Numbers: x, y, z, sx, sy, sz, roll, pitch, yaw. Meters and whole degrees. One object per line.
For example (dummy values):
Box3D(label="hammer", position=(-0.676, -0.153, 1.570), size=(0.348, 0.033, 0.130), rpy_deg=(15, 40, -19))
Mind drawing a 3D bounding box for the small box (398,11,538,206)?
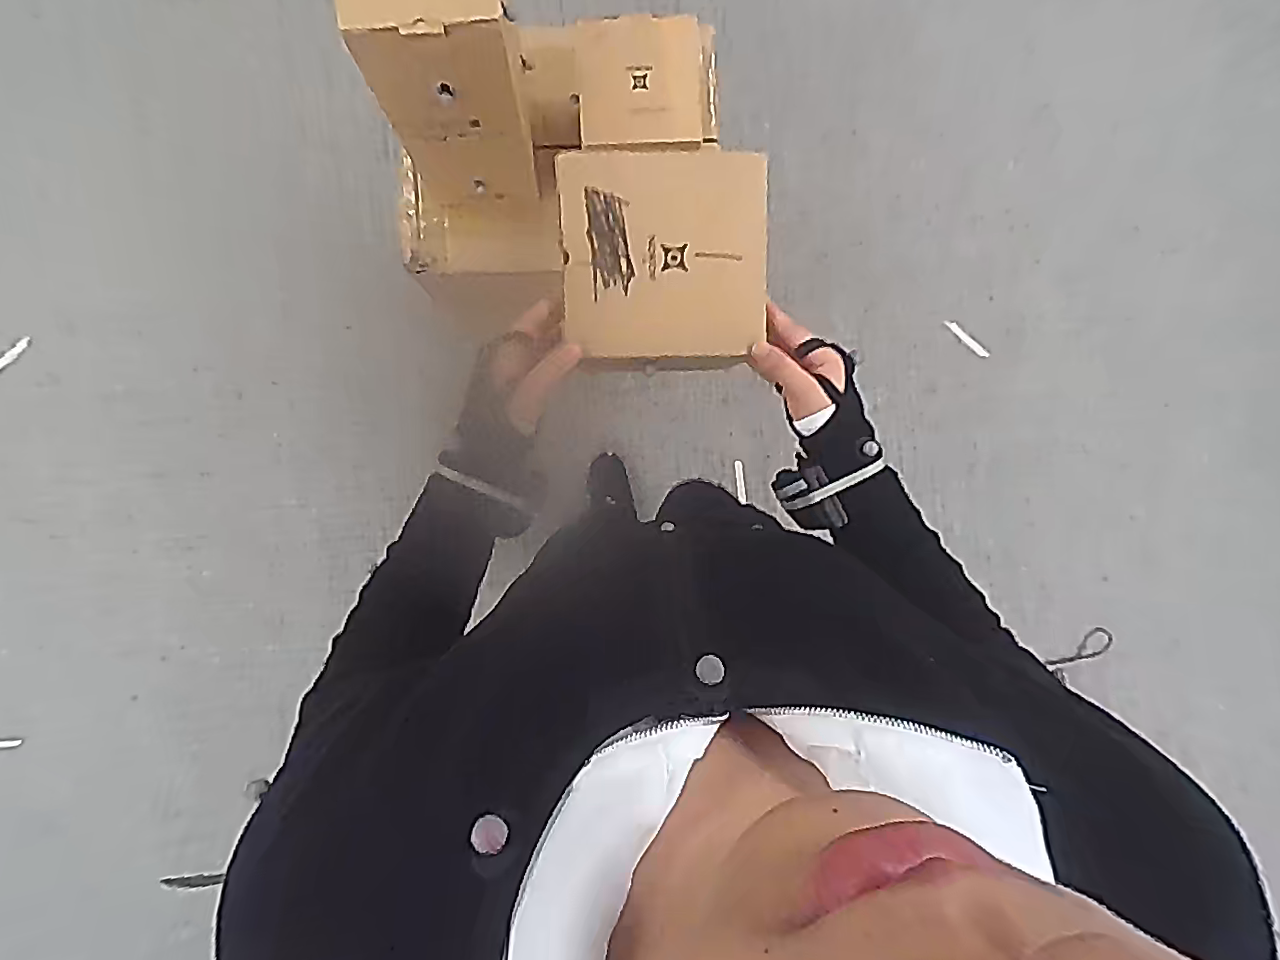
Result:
Box3D(label="small box", position=(-0.247, -0.535, 0.796), size=(0.168, 0.176, 0.179), rpy_deg=(-5, 89, -4))

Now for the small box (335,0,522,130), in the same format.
Box3D(label="small box", position=(-0.238, -0.541, 0.632), size=(0.168, 0.176, 0.179), rpy_deg=(-7, 90, -4))

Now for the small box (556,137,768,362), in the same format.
Box3D(label="small box", position=(0.016, -0.207, 0.530), size=(0.179, 0.176, 0.168), rpy_deg=(-2, 97, -3))

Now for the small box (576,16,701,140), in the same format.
Box3D(label="small box", position=(-0.004, -0.537, 0.810), size=(0.168, 0.176, 0.179), rpy_deg=(-4, 90, -1))
